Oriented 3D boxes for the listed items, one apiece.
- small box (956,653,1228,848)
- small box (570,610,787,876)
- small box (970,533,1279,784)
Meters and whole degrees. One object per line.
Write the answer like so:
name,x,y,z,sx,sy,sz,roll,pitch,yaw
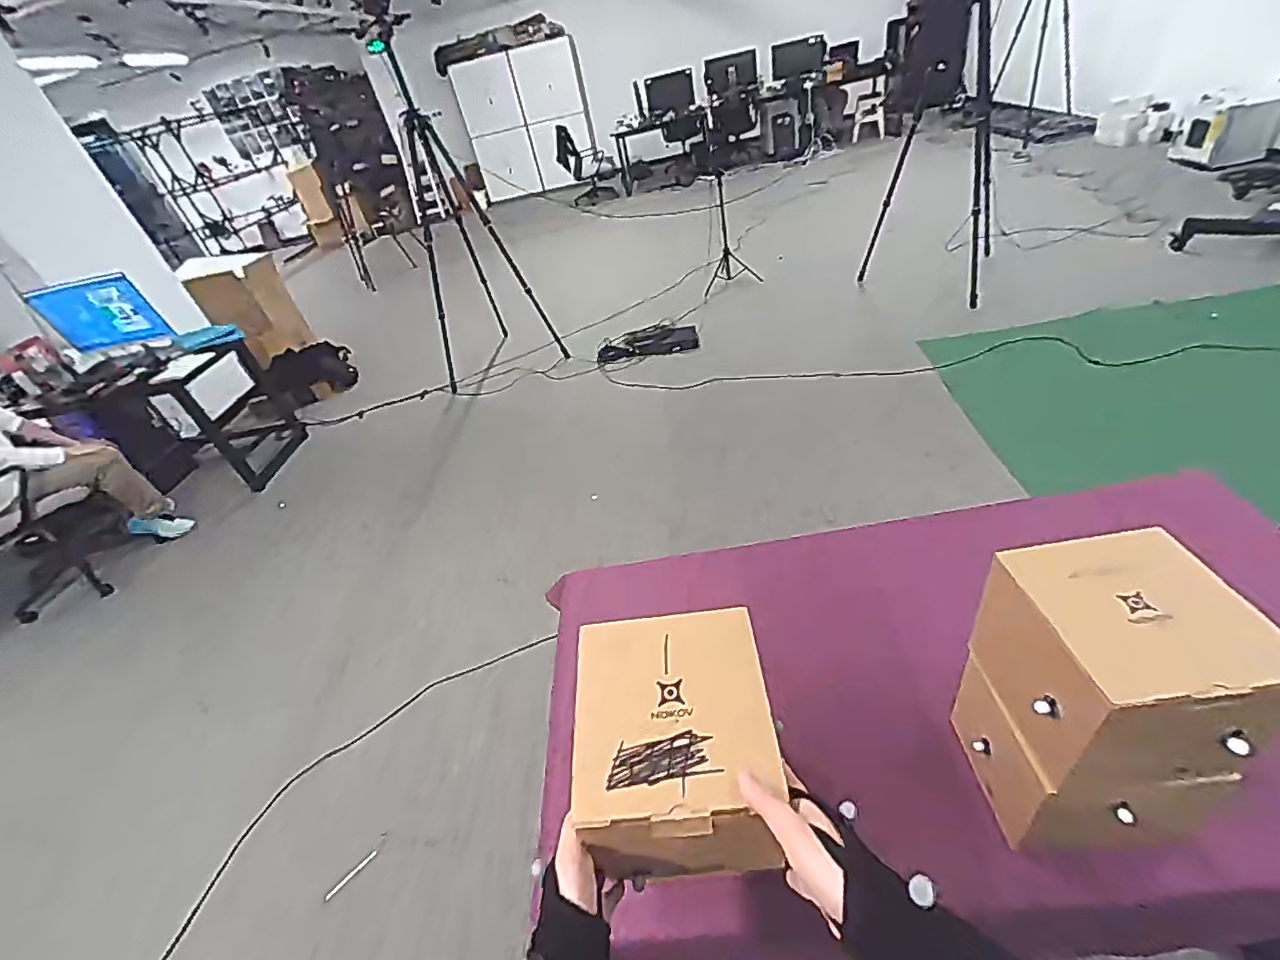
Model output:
small box,0.499,0.312,0.638,0.179,0.176,0.168,-9,38,7
small box,0.036,0.251,0.509,0.168,0.176,0.179,-7,42,3
small box,0.468,0.183,0.543,0.168,0.176,0.179,-10,37,5
